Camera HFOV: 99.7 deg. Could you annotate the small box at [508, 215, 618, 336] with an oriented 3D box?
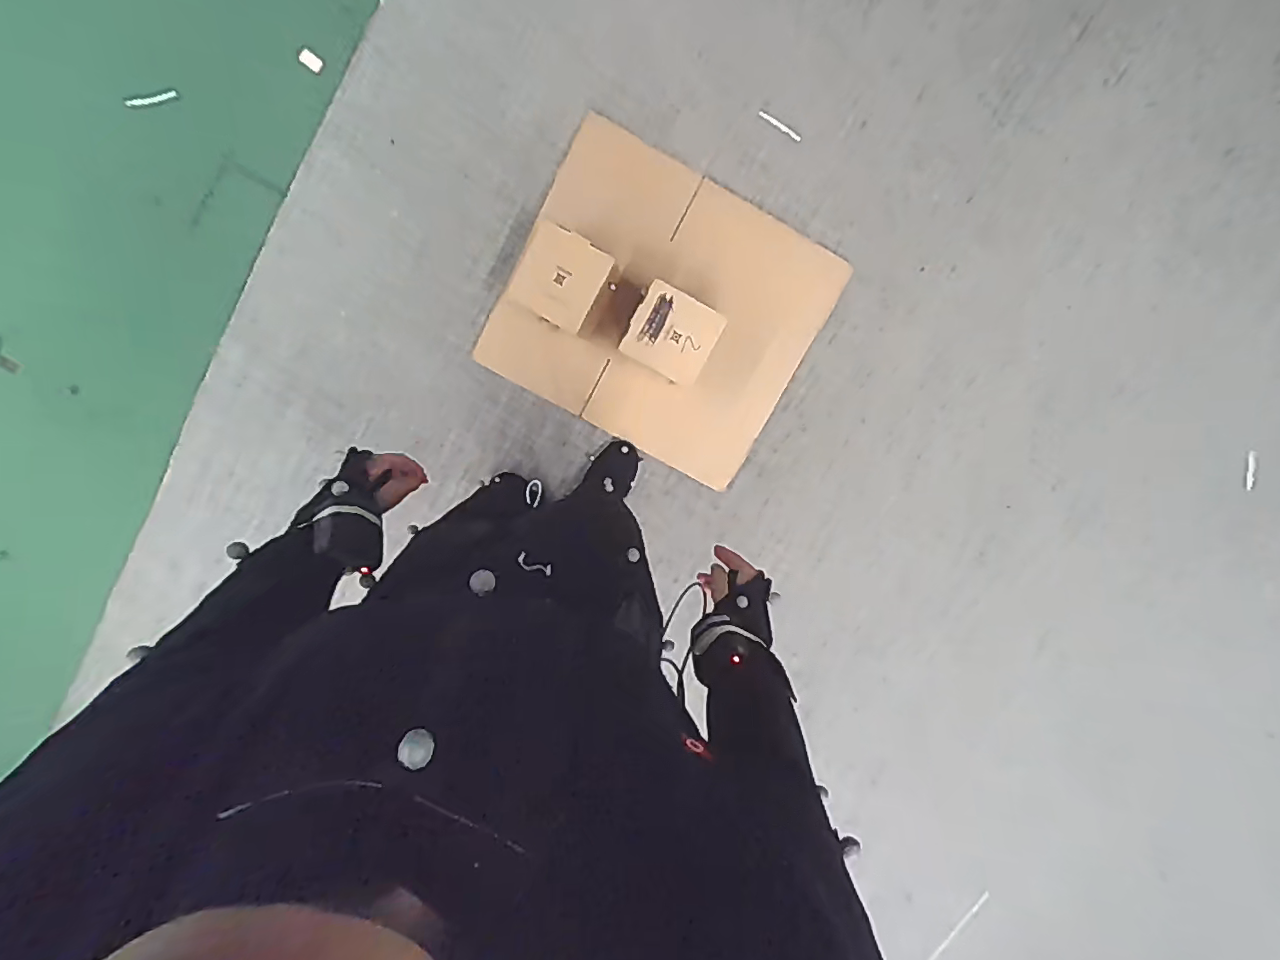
[{"bbox_3d":[-0.157,-0.429,1.165,0.168,0.176,0.179,29,101,-4],"label":"small box"}]
